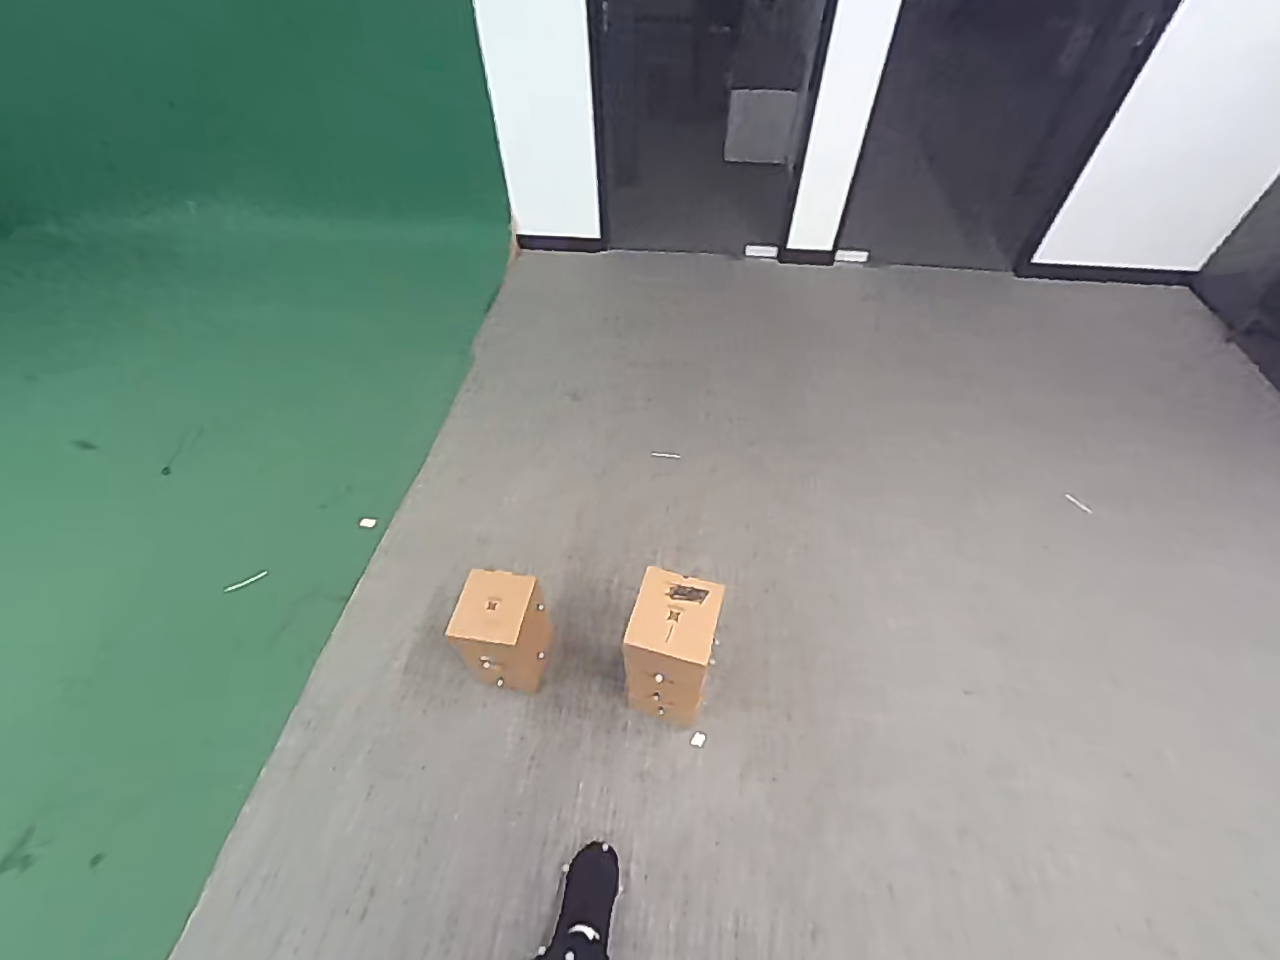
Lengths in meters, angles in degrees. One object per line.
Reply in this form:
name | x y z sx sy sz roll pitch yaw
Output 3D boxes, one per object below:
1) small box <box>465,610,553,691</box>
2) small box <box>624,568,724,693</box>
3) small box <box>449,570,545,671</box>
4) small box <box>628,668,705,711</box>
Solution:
small box | -0.339 0.444 1.447 0.168 0.176 0.179 9 53 7
small box | 0.069 0.316 1.128 0.168 0.176 0.179 13 54 11
small box | -0.337 0.344 1.319 0.168 0.176 0.179 5 52 6
small box | 0.072 0.412 1.262 0.168 0.176 0.179 12 53 10
